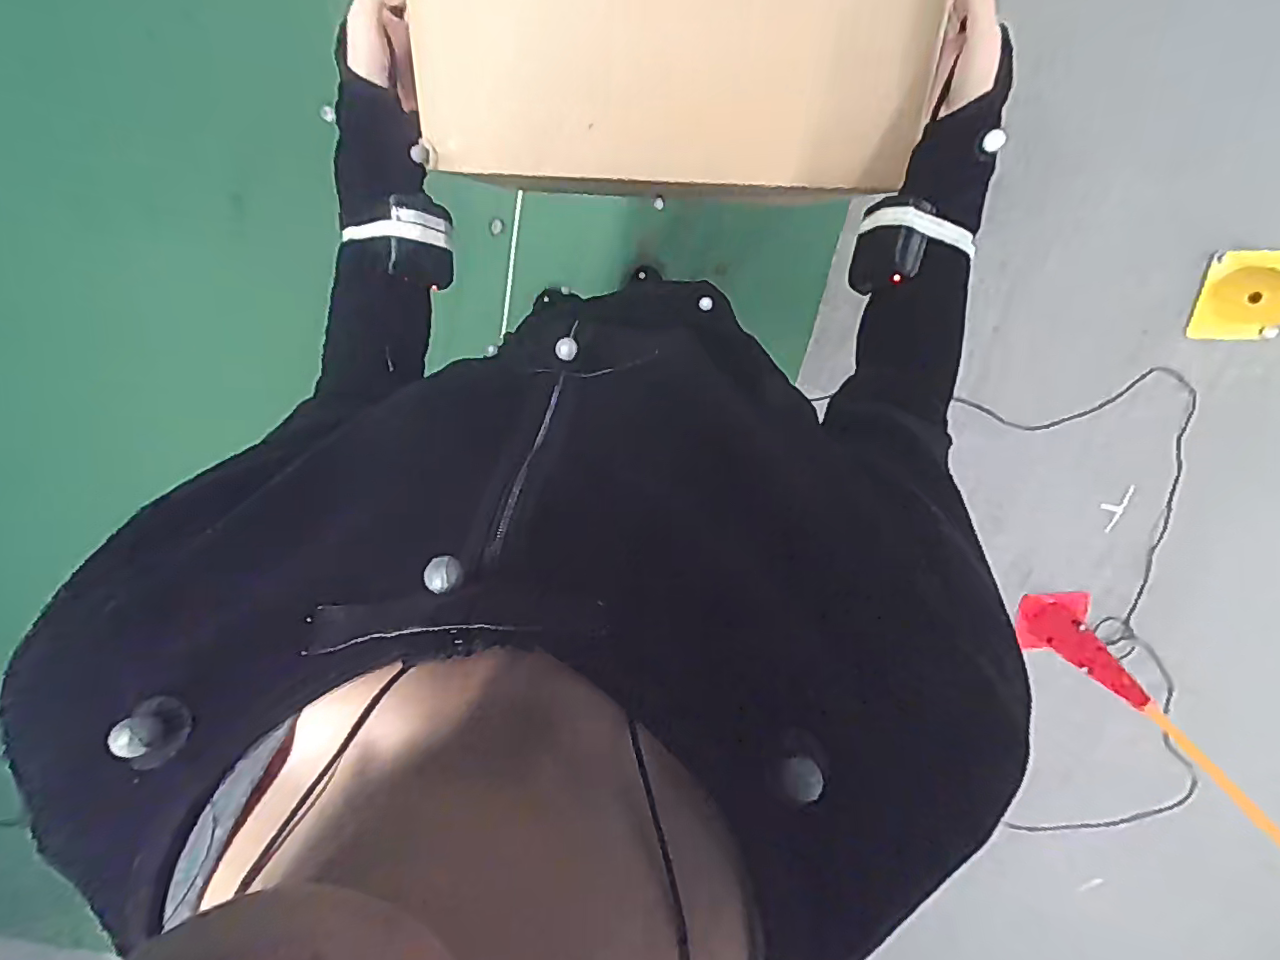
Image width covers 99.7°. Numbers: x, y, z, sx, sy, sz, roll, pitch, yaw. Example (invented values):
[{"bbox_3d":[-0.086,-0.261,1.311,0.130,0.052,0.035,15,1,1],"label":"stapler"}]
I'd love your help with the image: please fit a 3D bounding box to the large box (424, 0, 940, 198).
[{"bbox_3d":[0.035,-0.458,0.534,0.408,0.320,0.320,2,115,-1],"label":"large box"}]
